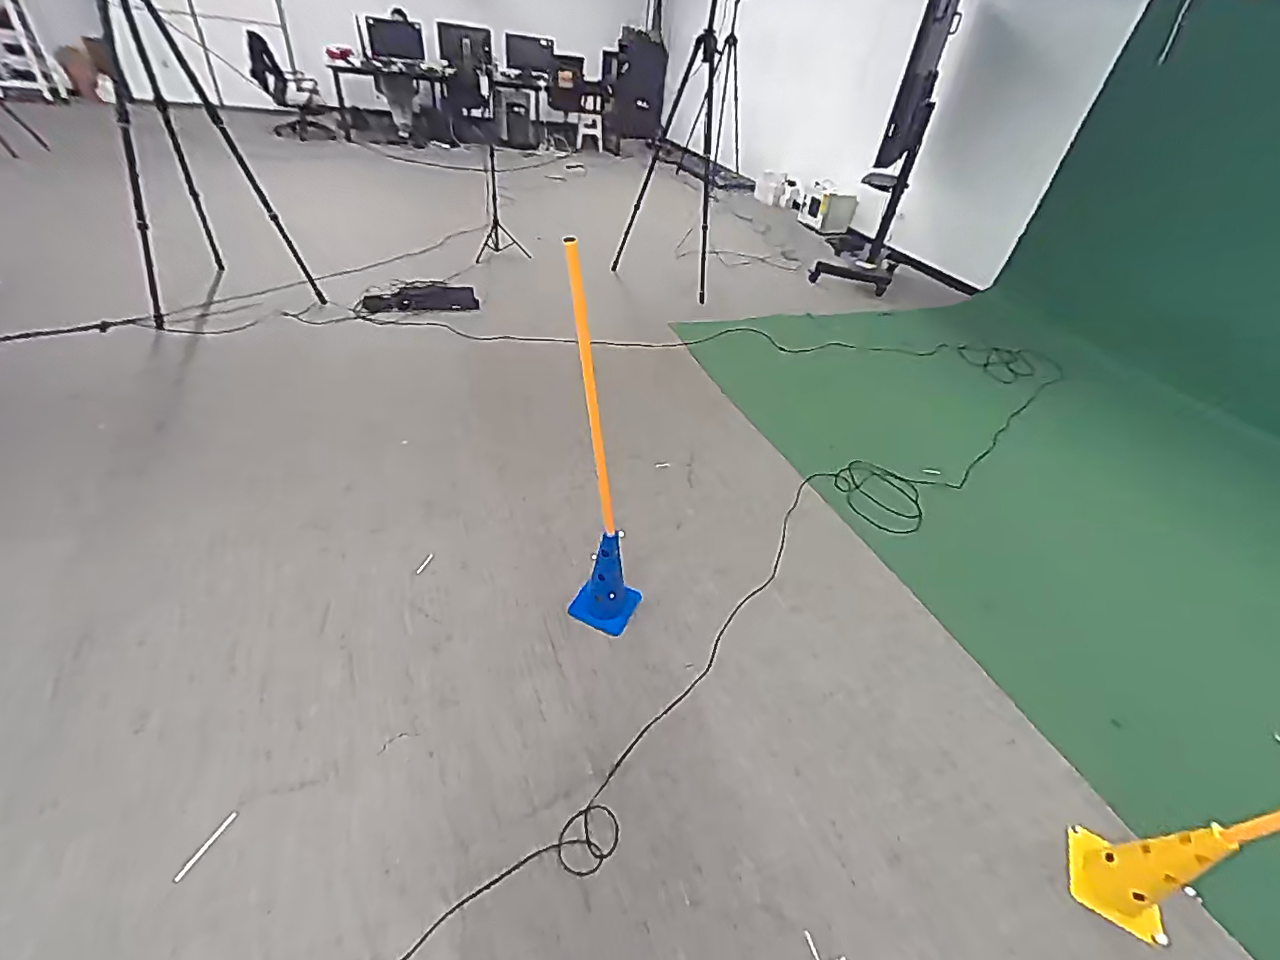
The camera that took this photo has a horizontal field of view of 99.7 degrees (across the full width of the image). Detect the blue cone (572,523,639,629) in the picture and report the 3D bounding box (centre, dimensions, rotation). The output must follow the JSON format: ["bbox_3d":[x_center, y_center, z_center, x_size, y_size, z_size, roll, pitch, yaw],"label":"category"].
[{"bbox_3d":[-0.104,0.286,1.715,0.193,0.380,0.192,19,42,15],"label":"blue cone"}]
